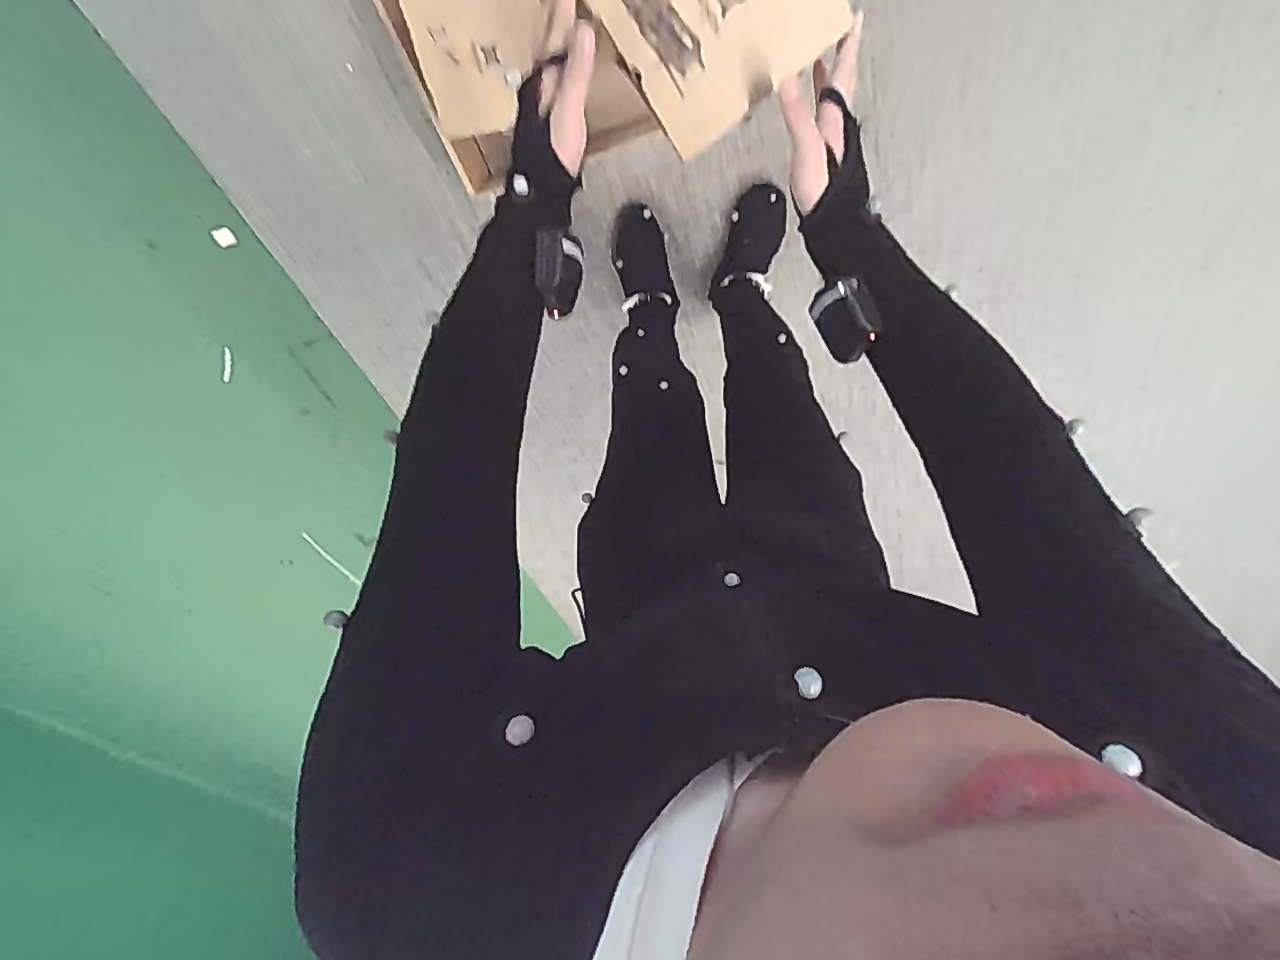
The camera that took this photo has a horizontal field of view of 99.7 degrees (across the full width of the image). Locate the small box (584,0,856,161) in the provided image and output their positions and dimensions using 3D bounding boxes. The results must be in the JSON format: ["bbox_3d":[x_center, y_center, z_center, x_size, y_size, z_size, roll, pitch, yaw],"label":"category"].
[{"bbox_3d":[0.063,-0.438,0.500,0.179,0.176,0.168,-31,123,21],"label":"small box"}]

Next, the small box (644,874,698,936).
[{"bbox_3d":[0.124,1.661,2.114,0.168,0.176,0.179,-16,130,14],"label":"small box"}]
